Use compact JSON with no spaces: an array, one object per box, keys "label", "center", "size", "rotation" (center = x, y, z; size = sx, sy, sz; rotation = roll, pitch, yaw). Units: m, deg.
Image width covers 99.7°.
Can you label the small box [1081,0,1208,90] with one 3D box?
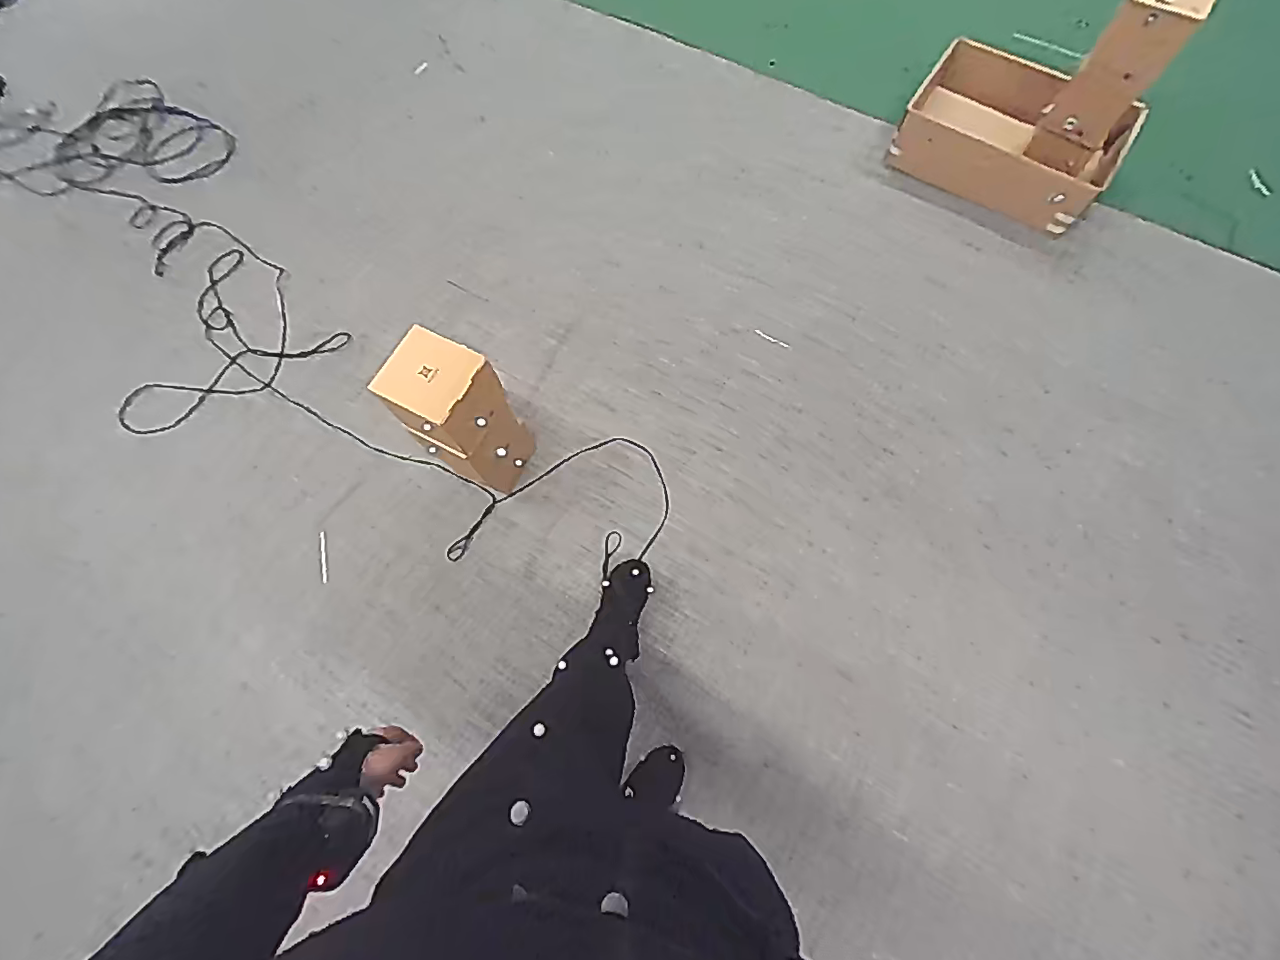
[{"label":"small box","center":[1.266,-1.138,1.358],"size":[0.168,0.176,0.179],"rotation":[31,74,13]}]

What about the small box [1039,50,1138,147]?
[{"label":"small box","center":[1.273,-1.085,1.514],"size":[0.168,0.176,0.179],"rotation":[34,77,14]}]

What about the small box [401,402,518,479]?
[{"label":"small box","center":[-0.417,-0.122,1.282],"size":[0.179,0.176,0.168],"rotation":[26,74,10]}]

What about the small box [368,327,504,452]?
[{"label":"small box","center":[-0.415,-0.180,1.129],"size":[0.179,0.176,0.168],"rotation":[25,73,9]}]

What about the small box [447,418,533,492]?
[{"label":"small box","center":[-0.407,-0.084,1.442],"size":[0.179,0.176,0.168],"rotation":[22,72,10]}]
